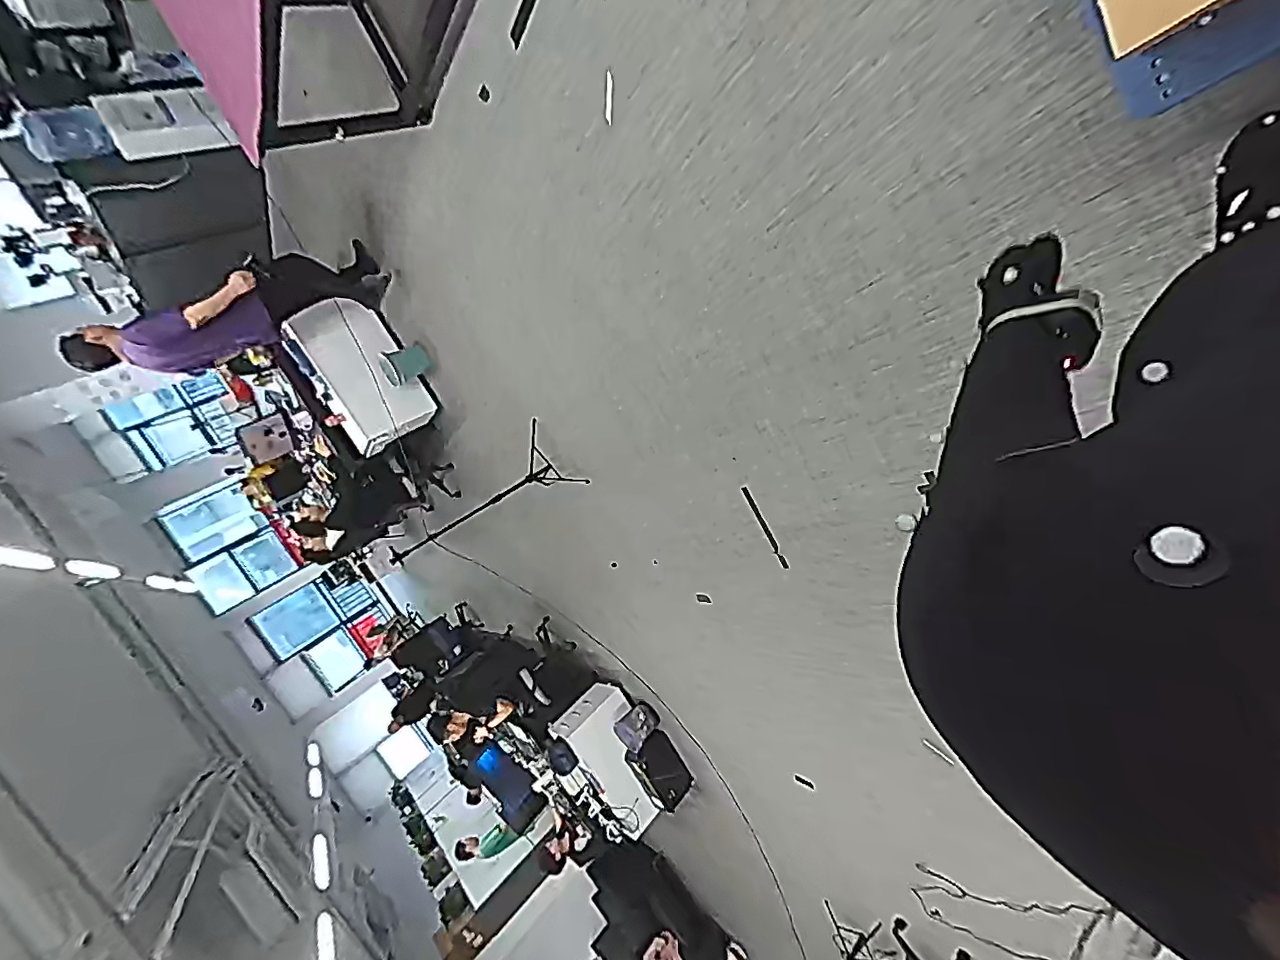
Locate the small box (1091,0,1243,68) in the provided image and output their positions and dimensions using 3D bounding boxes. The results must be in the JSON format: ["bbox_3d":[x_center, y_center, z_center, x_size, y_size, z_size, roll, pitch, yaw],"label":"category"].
[{"bbox_3d":[0.710,-0.680,0.696,0.179,0.176,0.168,-11,110,55],"label":"small box"}]
